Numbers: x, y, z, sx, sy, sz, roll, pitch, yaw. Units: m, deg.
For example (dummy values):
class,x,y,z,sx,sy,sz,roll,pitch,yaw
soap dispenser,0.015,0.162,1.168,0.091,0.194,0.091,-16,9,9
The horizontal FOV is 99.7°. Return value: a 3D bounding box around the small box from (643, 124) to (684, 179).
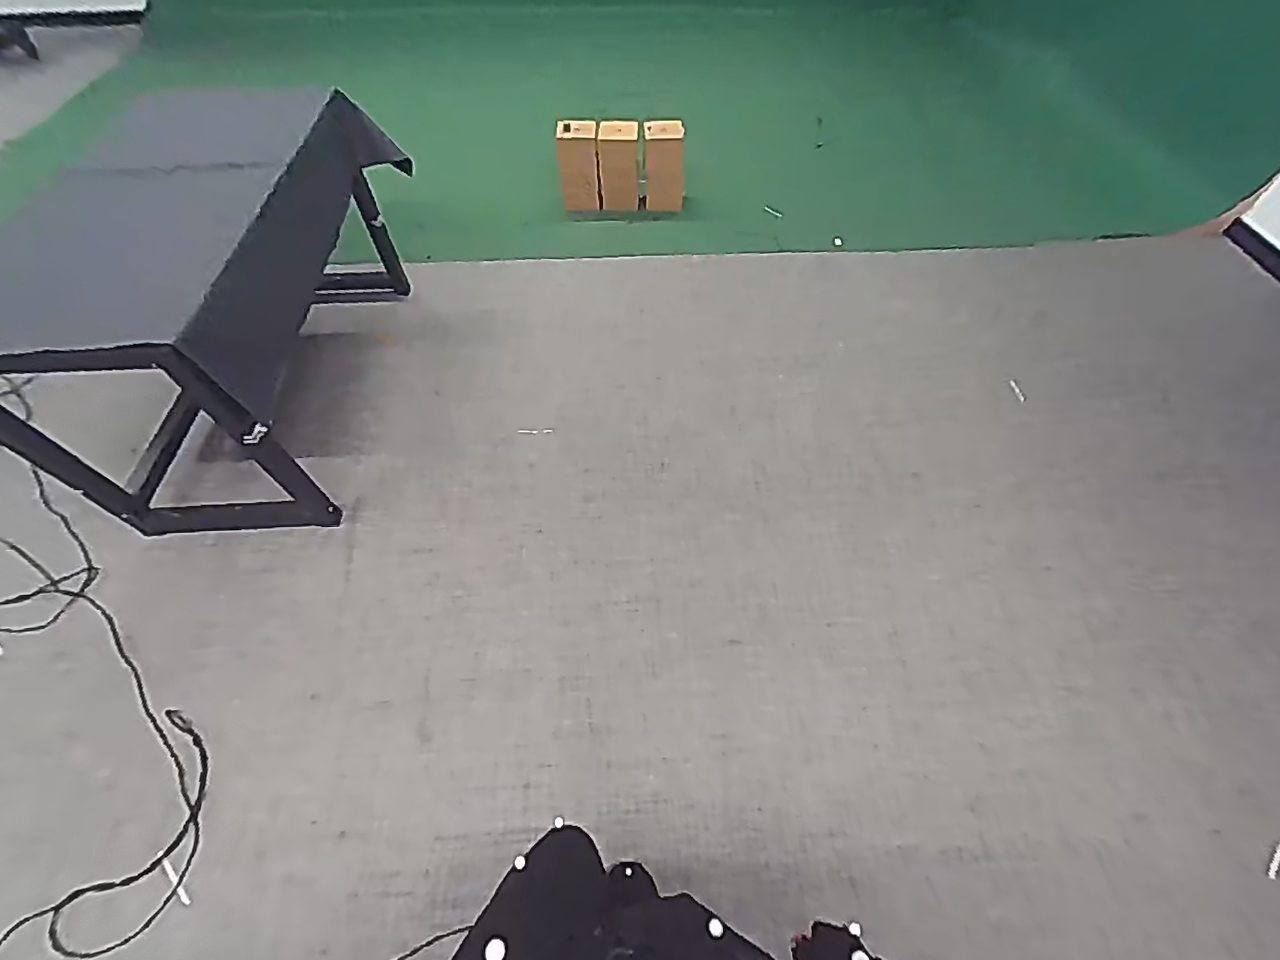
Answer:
class,x,y,z,sx,sy,sz,roll,pitch,yaw
small box,0.104,-1.509,2.488,0.179,0.176,0.168,-1,56,-2
